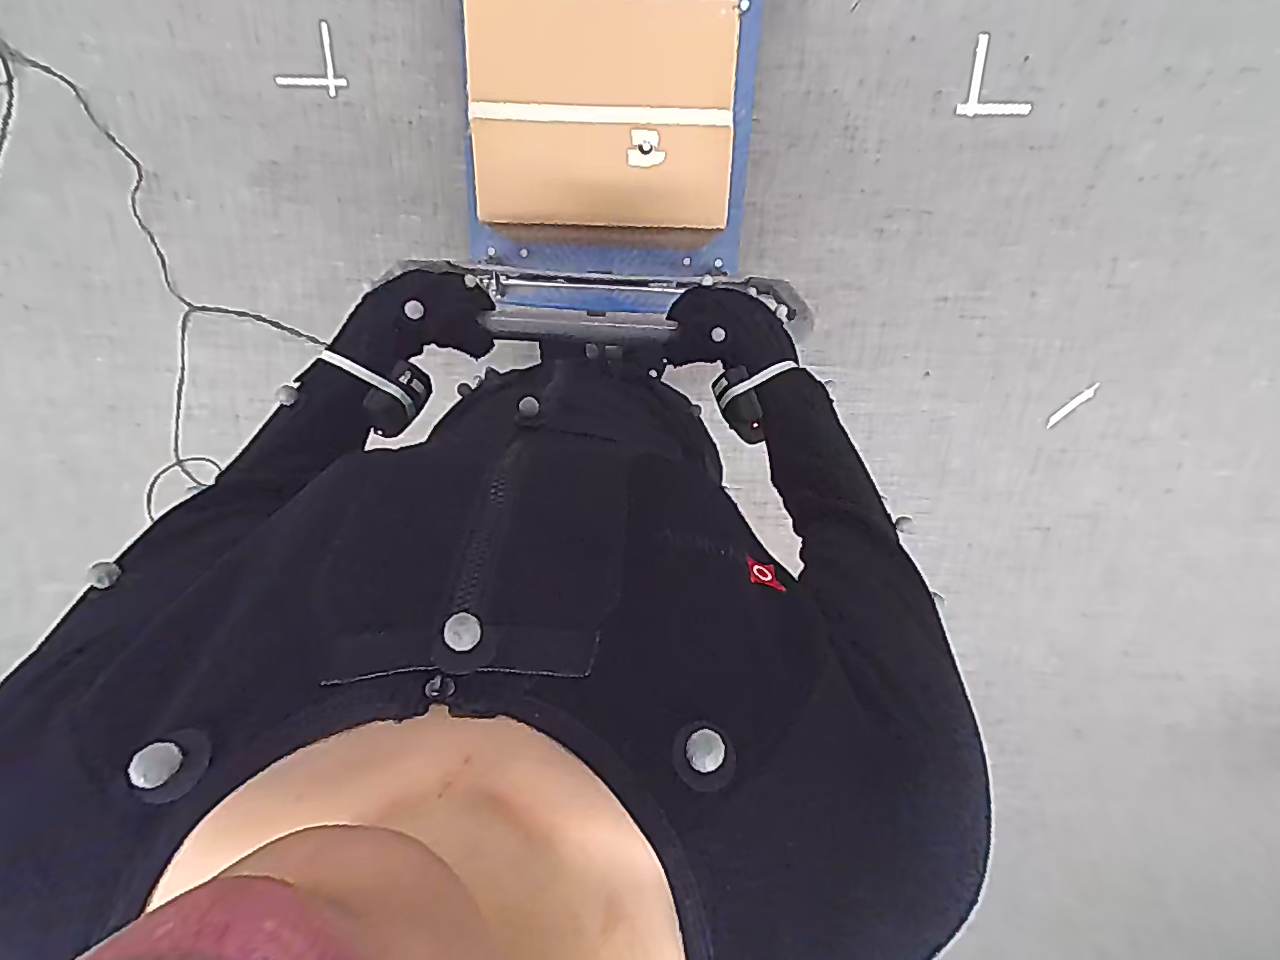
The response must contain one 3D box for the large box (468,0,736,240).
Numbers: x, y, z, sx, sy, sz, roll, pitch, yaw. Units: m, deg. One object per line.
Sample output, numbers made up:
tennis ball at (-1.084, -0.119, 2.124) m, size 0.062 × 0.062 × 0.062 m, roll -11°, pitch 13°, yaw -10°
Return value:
large box at (-0.064, -0.623, 0.984) m, size 0.408 × 0.320 × 0.320 m, roll 0°, pitch 109°, yaw -3°
